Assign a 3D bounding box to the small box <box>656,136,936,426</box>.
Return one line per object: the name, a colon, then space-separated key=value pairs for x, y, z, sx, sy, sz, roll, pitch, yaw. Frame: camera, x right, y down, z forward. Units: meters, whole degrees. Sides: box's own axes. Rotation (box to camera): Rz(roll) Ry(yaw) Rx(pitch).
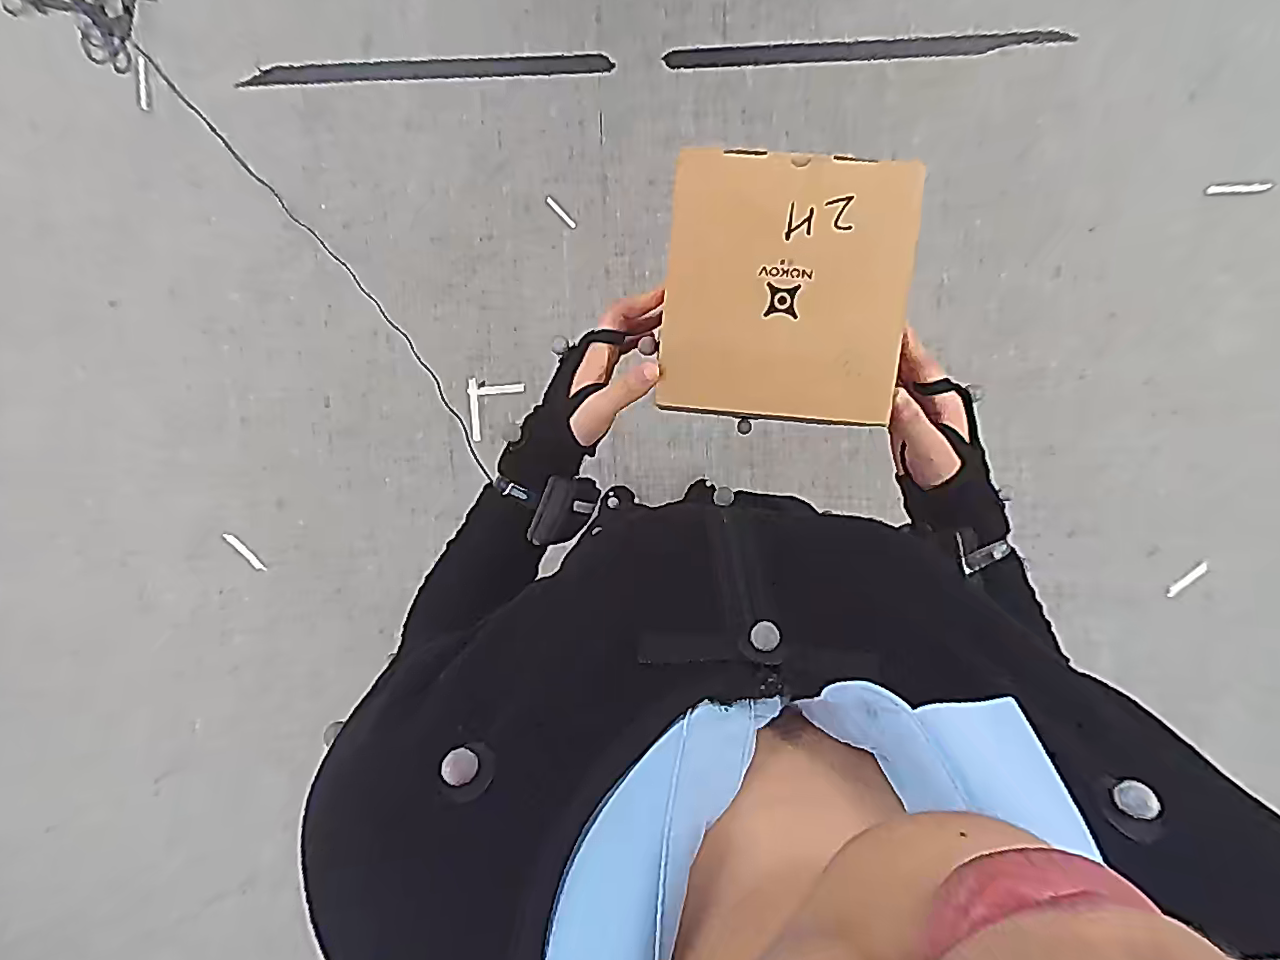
small box: x=0.105 y=-0.140 z=0.439 sx=0.168 sy=0.176 sz=0.179 roll=6 pitch=96 yaw=2
